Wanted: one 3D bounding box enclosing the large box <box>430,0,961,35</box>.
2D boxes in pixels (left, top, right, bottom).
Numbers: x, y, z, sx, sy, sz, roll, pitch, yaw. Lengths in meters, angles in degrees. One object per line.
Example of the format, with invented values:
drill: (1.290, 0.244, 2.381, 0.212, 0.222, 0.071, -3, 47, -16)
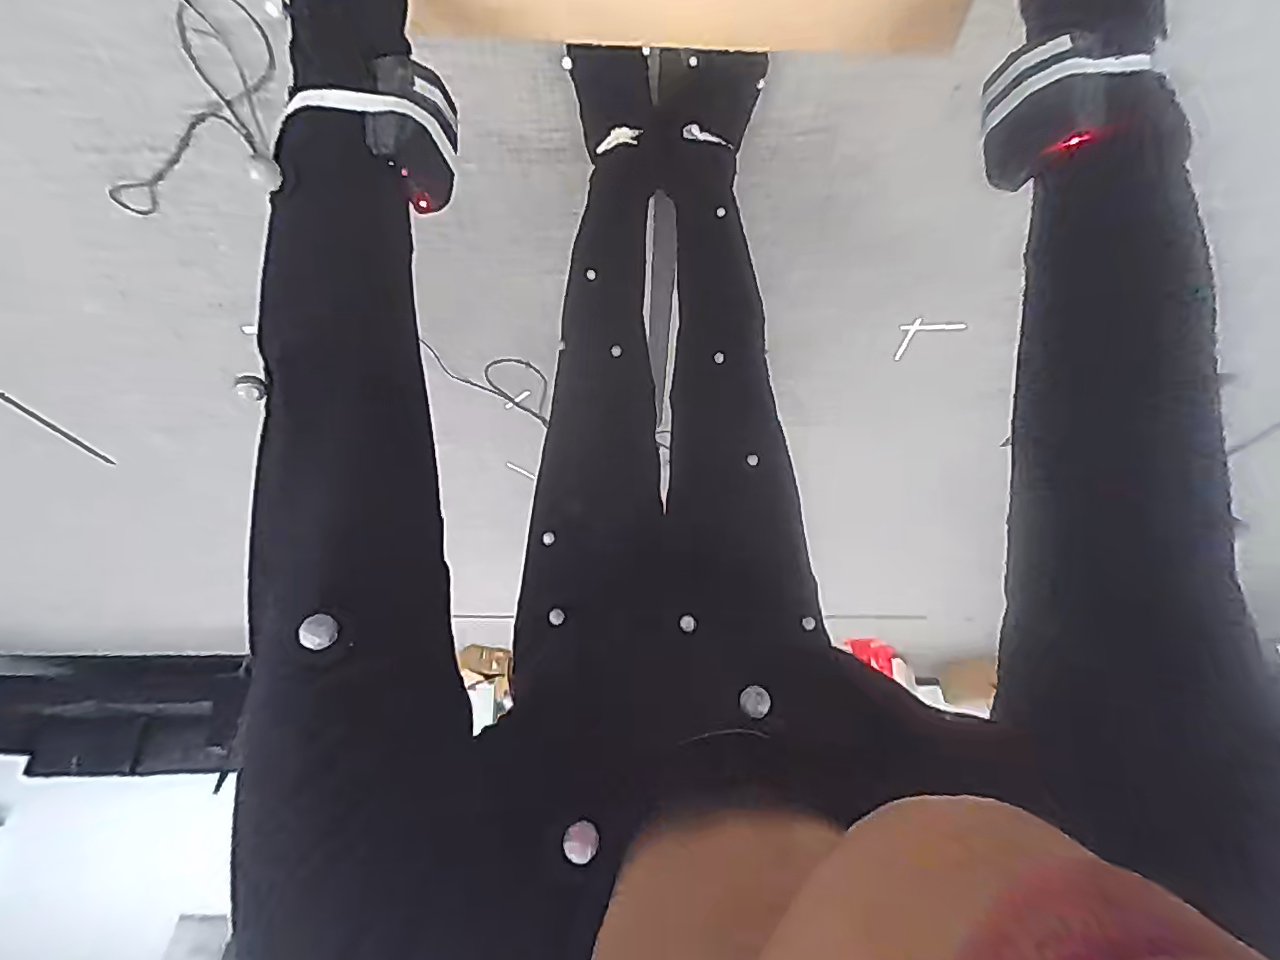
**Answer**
large box: (0.042, -0.557, 0.393, 0.408, 0.320, 0.320, 2, 141, 0)
